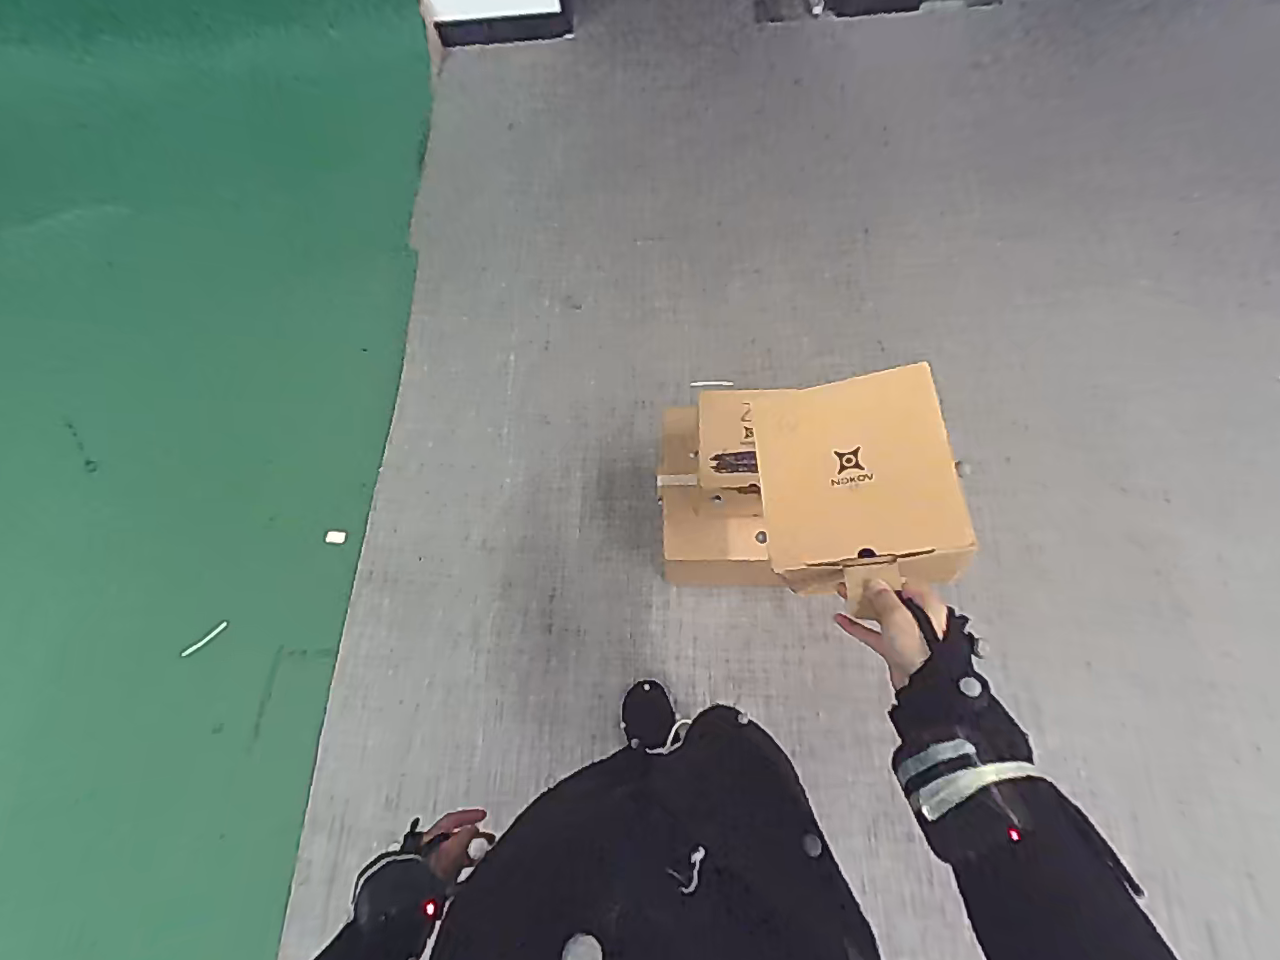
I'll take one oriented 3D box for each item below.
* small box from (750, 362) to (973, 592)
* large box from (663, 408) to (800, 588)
[{"bbox_3d":[0.220,0.010,0.561,0.168,0.176,0.179,-12,67,20],"label":"small box"},{"bbox_3d":[0.254,0.050,1.157,0.408,0.320,0.320,-1,71,3],"label":"large box"}]
